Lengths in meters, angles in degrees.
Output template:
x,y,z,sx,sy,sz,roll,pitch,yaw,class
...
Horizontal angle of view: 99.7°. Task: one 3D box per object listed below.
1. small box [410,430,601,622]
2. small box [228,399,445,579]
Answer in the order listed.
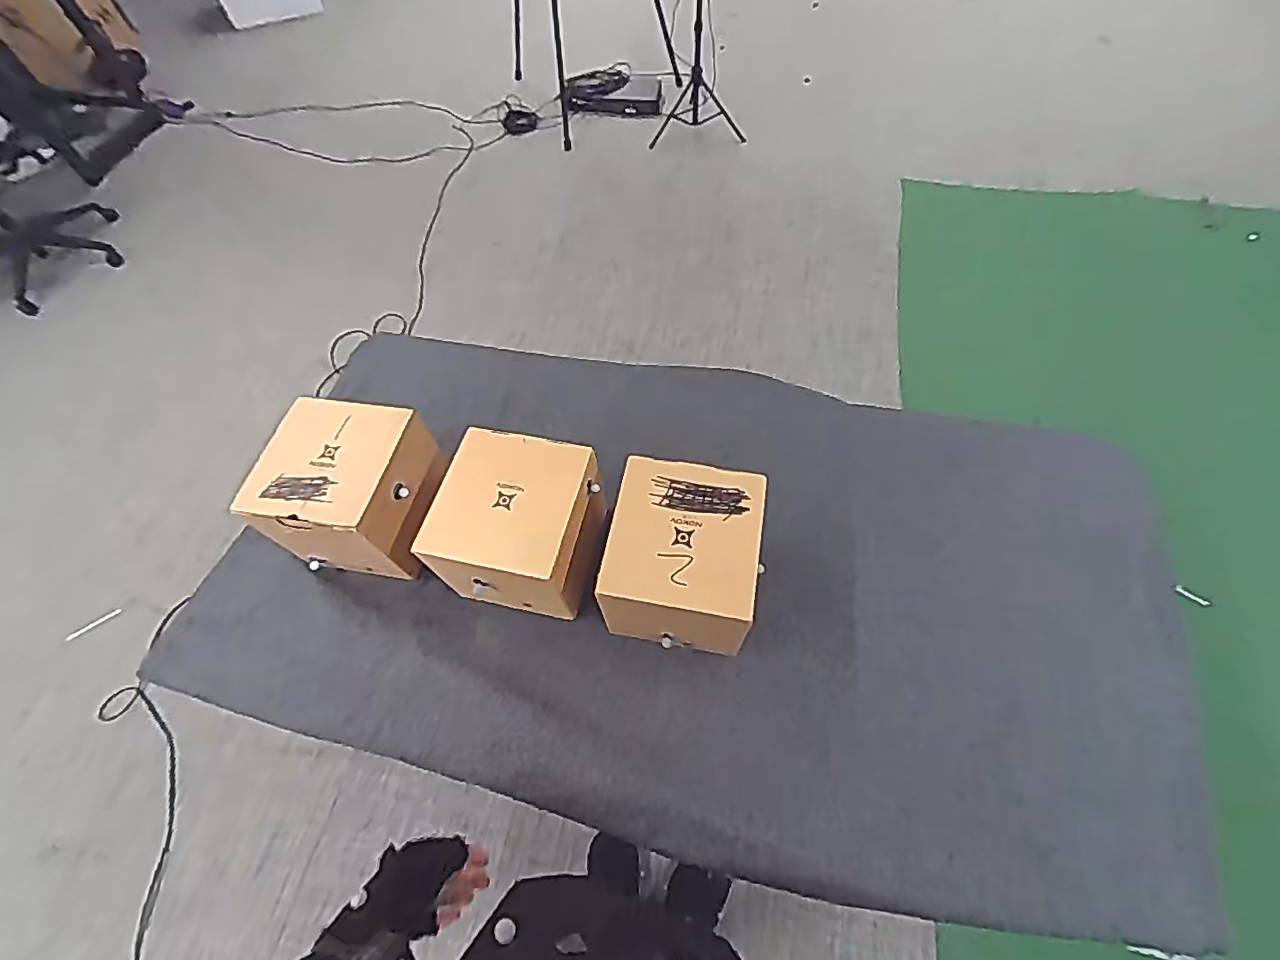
x,y,z,sx,sy,sz,roll,pitch,yaw,class
-0.153,0.065,0.690,0.168,0.176,0.179,10,60,9,small box
-0.381,0.018,0.727,0.168,0.176,0.179,7,59,7,small box
